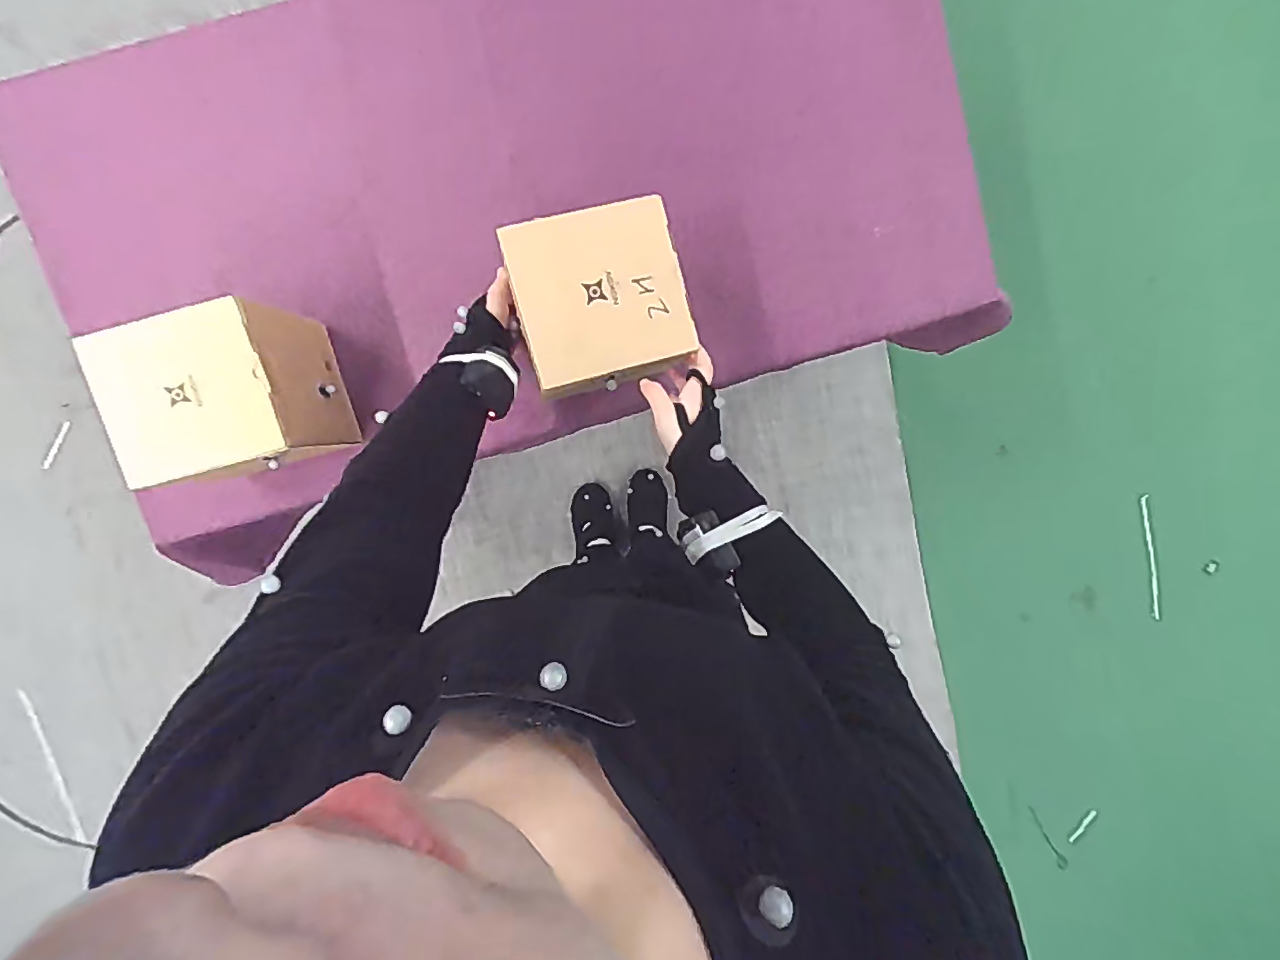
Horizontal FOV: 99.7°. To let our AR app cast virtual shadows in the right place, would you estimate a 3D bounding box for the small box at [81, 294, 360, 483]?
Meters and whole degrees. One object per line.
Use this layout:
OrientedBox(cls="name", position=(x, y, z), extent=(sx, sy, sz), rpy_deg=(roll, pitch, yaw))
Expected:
OrientedBox(cls="small box", position=(-0.477, -0.101, 0.646), extent=(0.179, 0.176, 0.168), rpy_deg=(-16, 96, -1))
